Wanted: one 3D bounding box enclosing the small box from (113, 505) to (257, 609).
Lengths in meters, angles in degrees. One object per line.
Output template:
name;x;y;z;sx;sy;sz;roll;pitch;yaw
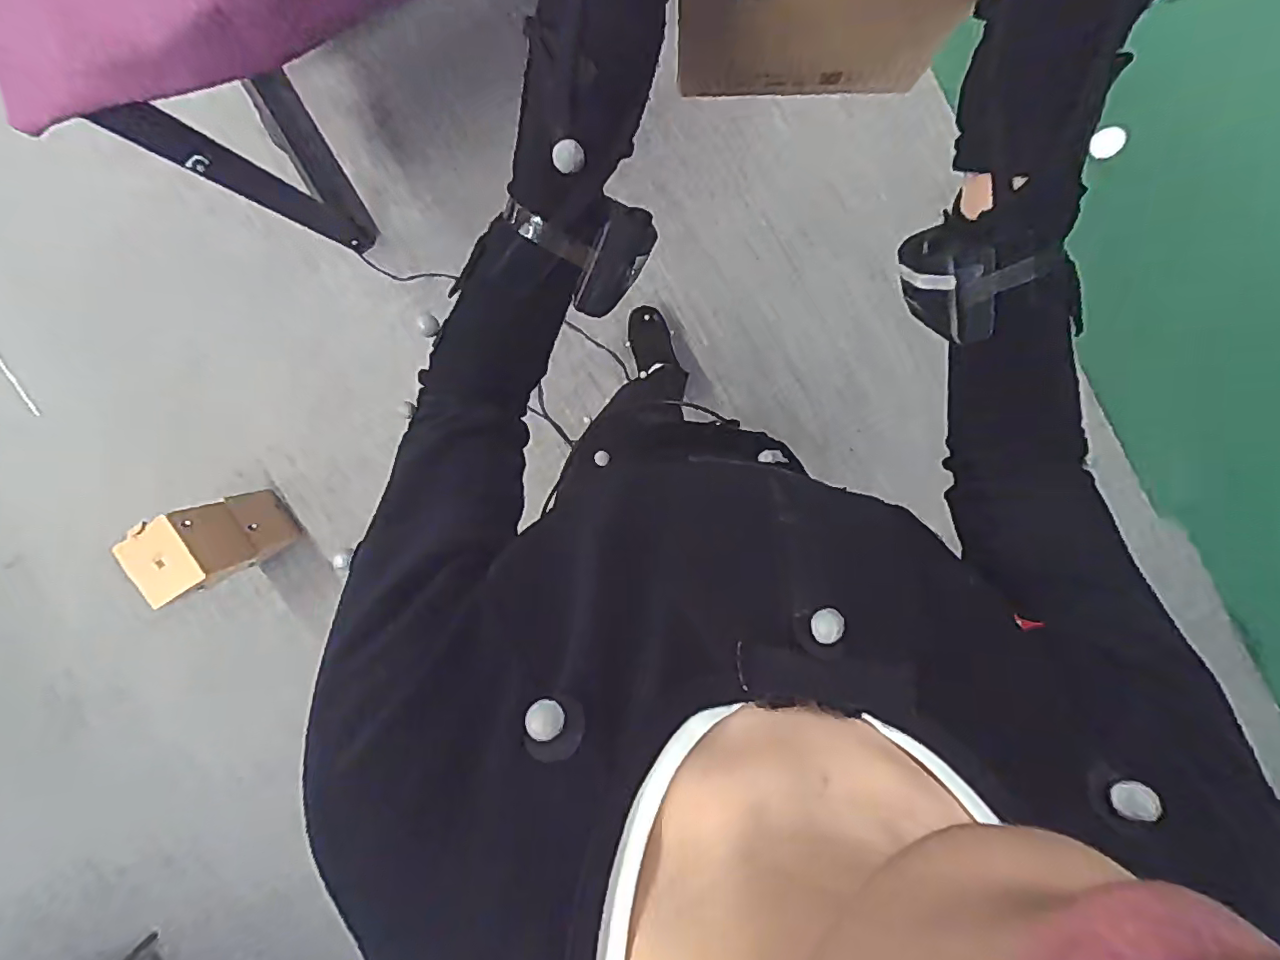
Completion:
small box;-1.095;0.179;1.318;0.168;0.176;0.179;-31;93;6

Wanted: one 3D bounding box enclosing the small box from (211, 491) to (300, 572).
small box;-1.089;0.148;1.479;0.179;0.176;0.168;-31;94;7
